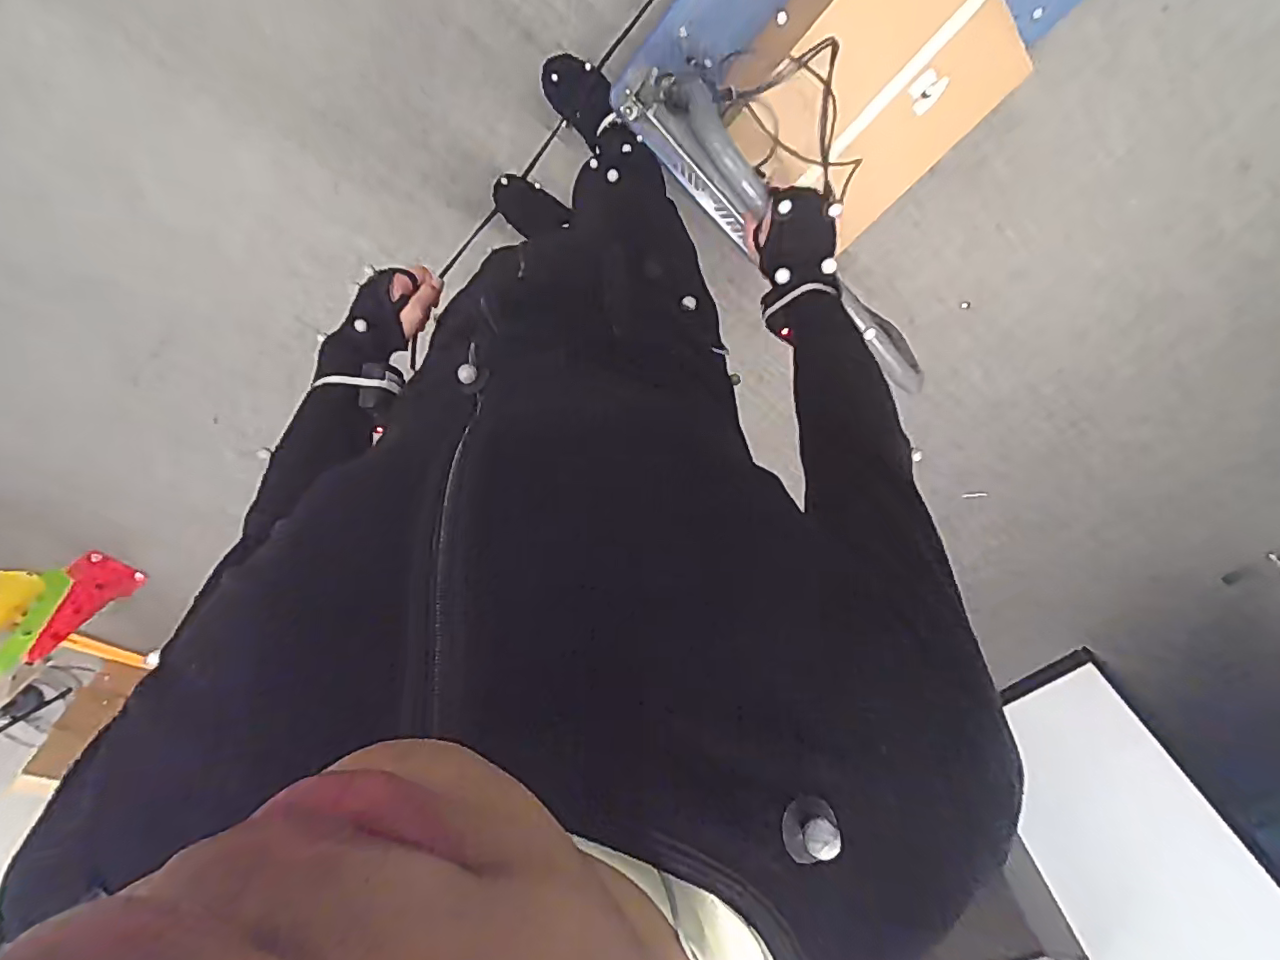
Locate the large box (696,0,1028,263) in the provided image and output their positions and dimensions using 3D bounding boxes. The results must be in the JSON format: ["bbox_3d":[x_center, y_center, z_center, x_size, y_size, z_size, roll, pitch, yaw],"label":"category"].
[{"bbox_3d":[0.362,-0.692,0.985,0.320,0.320,0.408,34,117,-28],"label":"large box"}]
